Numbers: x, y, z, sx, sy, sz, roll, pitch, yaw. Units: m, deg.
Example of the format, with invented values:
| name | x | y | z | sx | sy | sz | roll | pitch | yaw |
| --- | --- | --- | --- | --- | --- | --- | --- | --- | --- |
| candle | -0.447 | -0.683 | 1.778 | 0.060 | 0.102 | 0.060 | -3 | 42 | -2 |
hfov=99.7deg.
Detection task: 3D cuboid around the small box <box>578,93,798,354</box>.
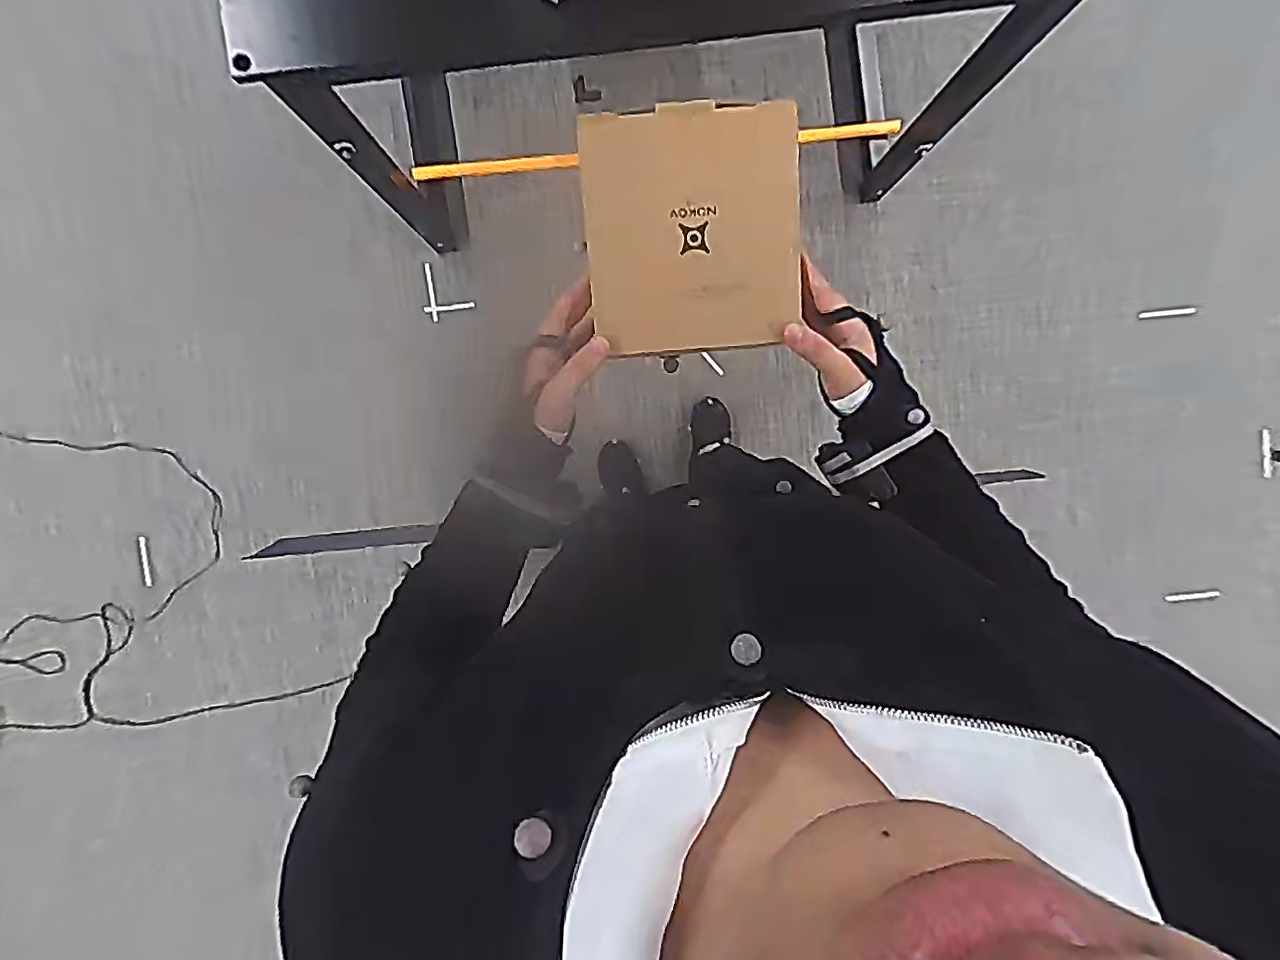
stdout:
| name | x | y | z | sx | sy | sz | roll | pitch | yaw |
| --- | --- | --- | --- | --- | --- | --- | --- | --- | --- |
| small box | 0.036 | -0.211 | 0.491 | 0.168 | 0.176 | 0.179 | -5 | 102 | -1 |
